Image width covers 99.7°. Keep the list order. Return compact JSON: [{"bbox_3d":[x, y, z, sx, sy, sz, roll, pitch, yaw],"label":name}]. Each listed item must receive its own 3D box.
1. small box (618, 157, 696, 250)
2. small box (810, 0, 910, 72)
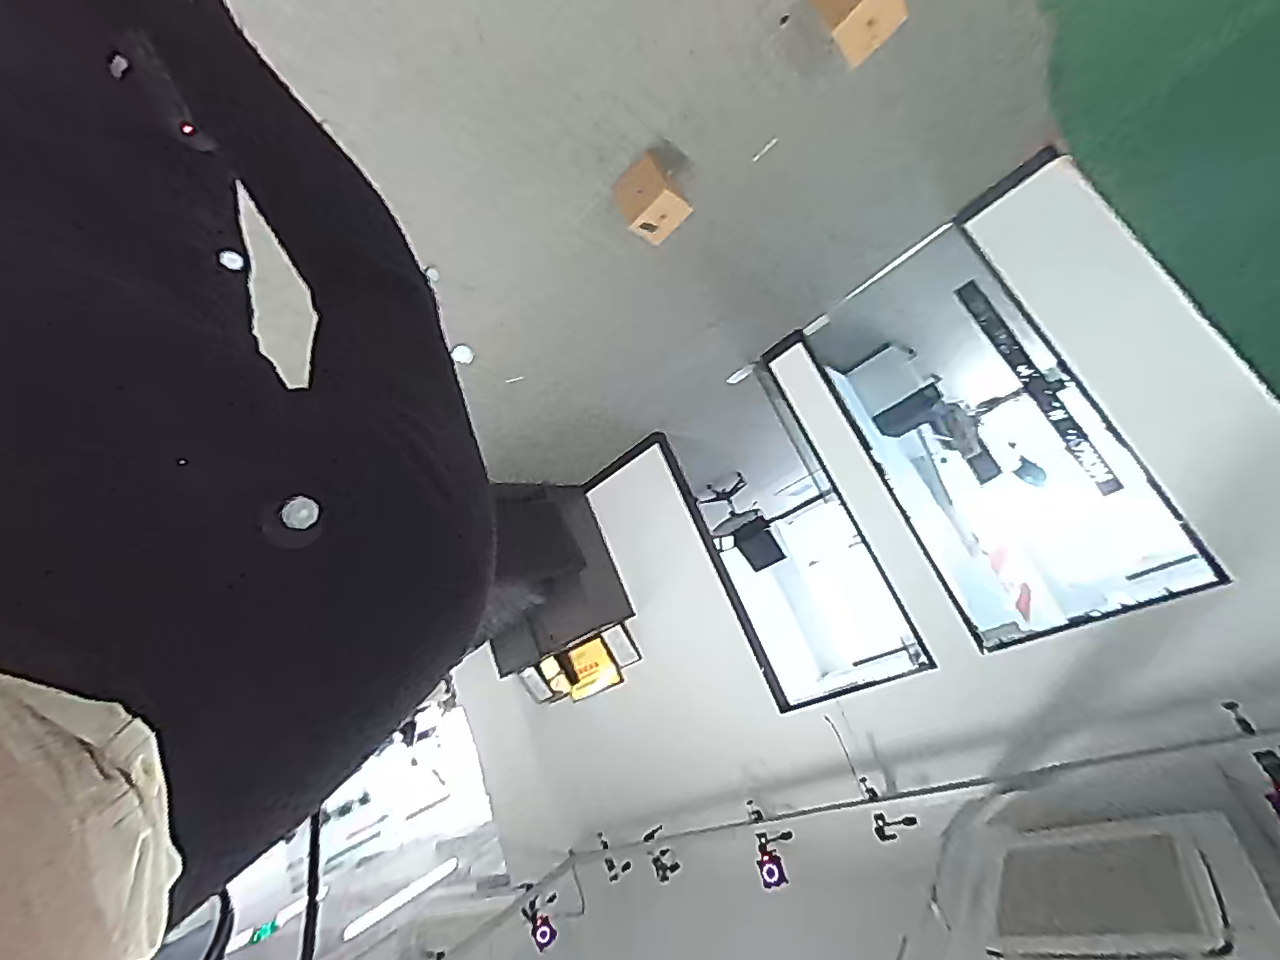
[{"bbox_3d":[0.047,-0.903,1.769,0.179,0.176,0.168,-35,160,32],"label":"small box"},{"bbox_3d":[0.577,-1.249,1.426,0.168,0.176,0.179,-34,160,33],"label":"small box"}]
